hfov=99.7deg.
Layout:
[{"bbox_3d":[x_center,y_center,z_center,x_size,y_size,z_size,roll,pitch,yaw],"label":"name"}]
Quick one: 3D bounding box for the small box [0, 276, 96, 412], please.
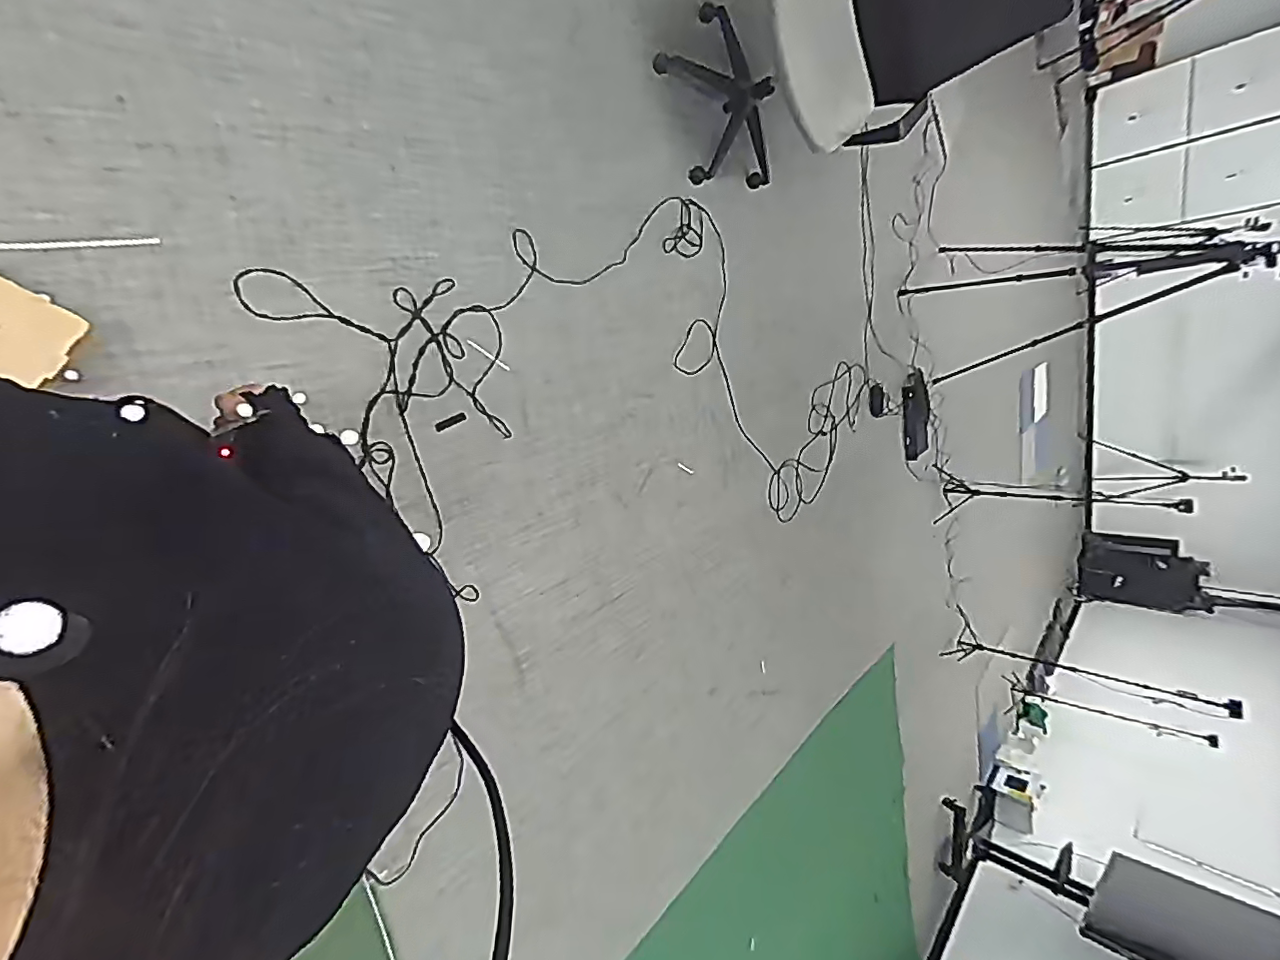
[{"bbox_3d":[-1.004,-0.220,0.842,0.179,0.176,0.168,37,69,-38],"label":"small box"}]
